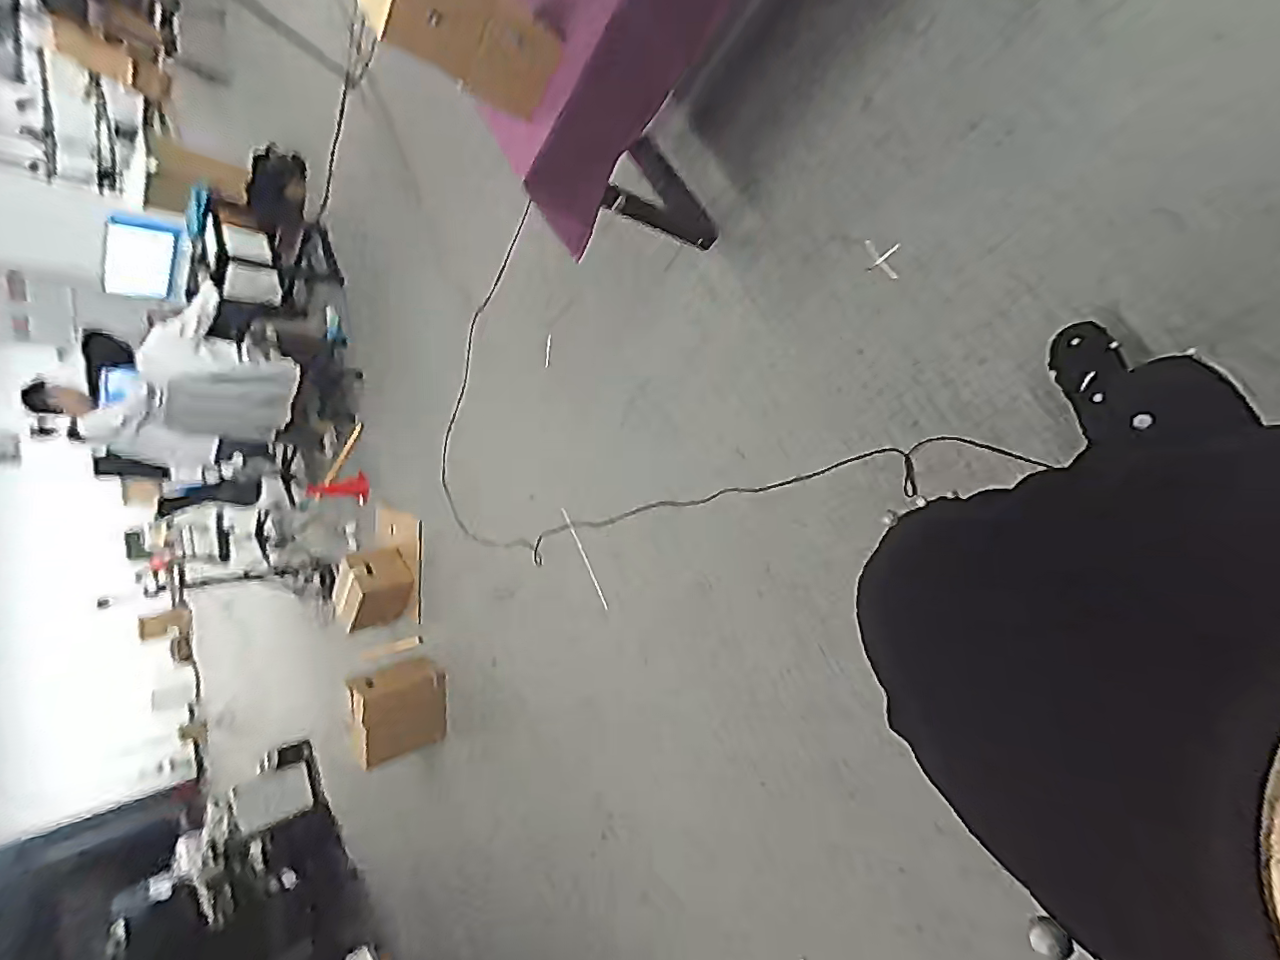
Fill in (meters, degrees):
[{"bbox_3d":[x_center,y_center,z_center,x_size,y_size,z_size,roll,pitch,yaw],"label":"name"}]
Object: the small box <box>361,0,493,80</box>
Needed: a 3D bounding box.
[{"bbox_3d":[-0.403,-0.926,1.031,0.179,0.176,0.168,-45,64,34],"label":"small box"}]
